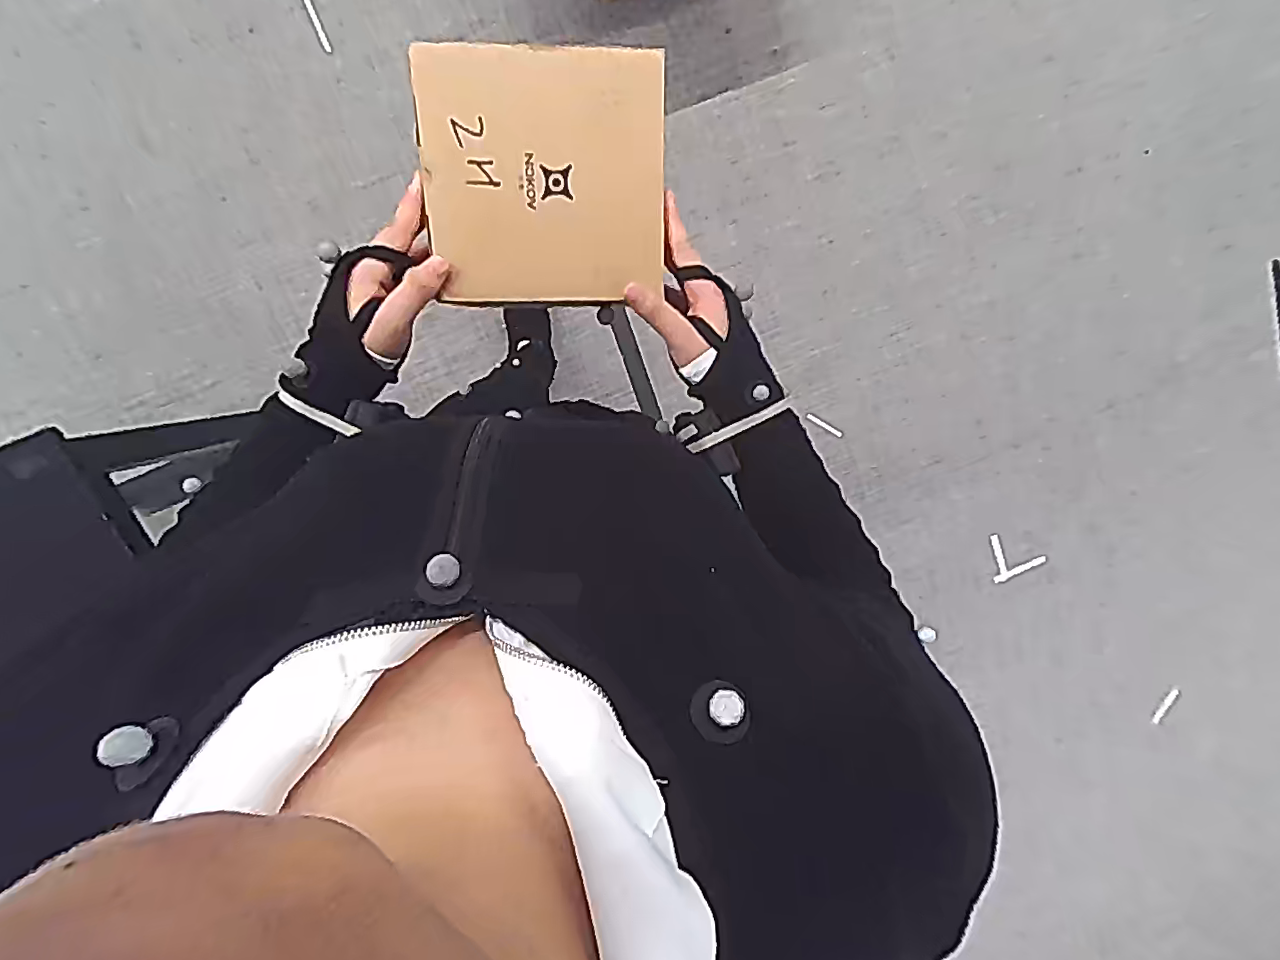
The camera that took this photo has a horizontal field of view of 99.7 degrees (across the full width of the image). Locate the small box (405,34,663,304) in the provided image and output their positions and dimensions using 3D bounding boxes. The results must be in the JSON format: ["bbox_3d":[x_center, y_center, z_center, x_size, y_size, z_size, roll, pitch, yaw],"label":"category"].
[{"bbox_3d":[-0.077,-0.242,0.465,0.179,0.176,0.168,-2,106,-4],"label":"small box"}]
